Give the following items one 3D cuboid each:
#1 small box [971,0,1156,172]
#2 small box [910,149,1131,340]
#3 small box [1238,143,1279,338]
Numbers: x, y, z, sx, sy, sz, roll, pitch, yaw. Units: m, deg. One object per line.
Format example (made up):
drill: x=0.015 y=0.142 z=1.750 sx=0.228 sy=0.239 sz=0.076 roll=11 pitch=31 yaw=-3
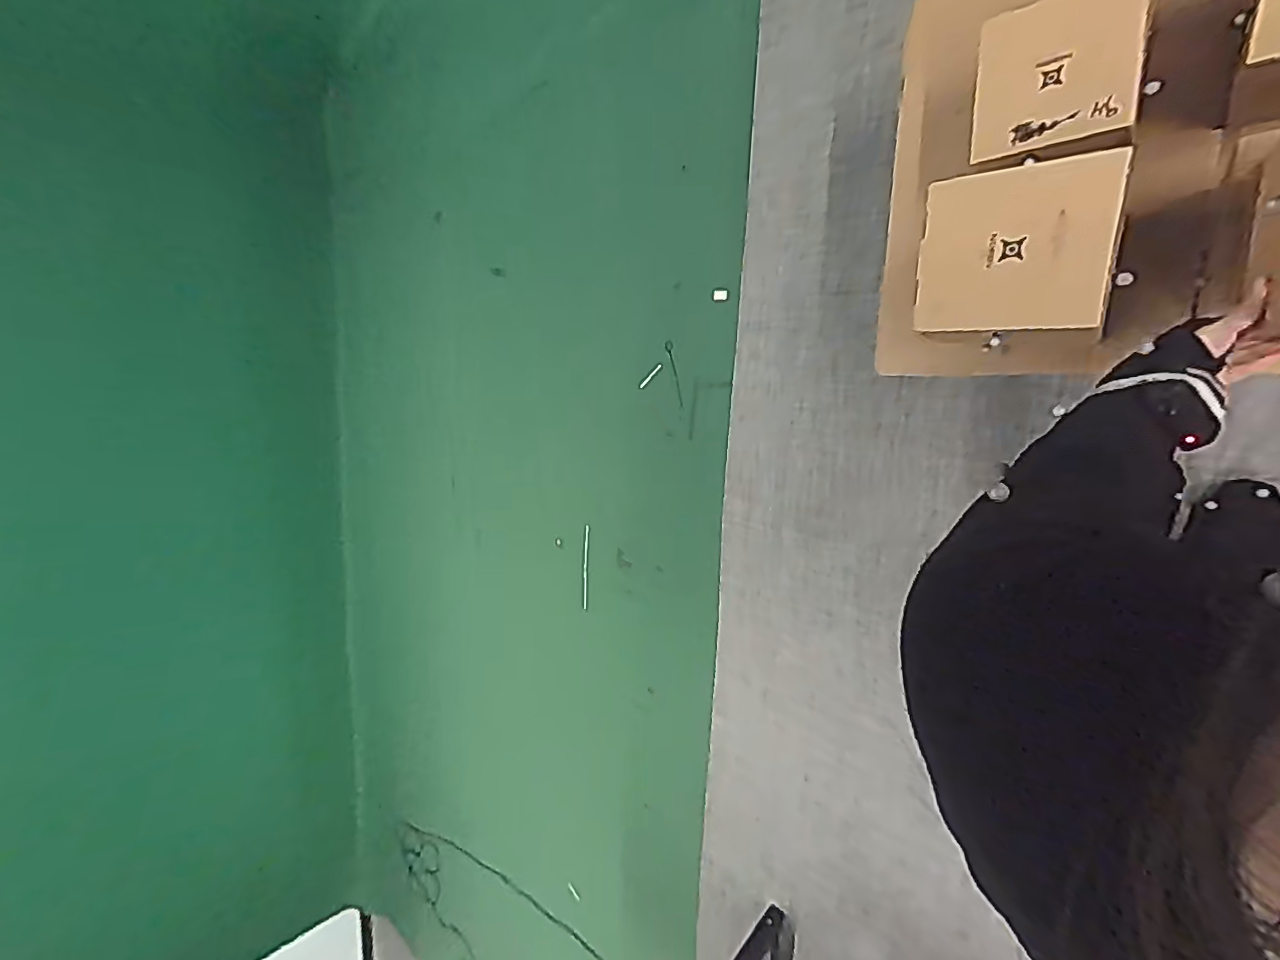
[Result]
small box: x=0.561 y=-0.506 z=0.719 sx=0.168 sy=0.176 sz=0.179 roll=9 pitch=100 yaw=42
small box: x=0.445 y=-0.255 z=0.636 sx=0.179 sy=0.176 sz=0.168 roll=12 pitch=105 yaw=40
small box: x=0.638 y=-0.219 z=0.442 sx=0.168 sy=0.176 sz=0.179 roll=6 pitch=93 yaw=35
